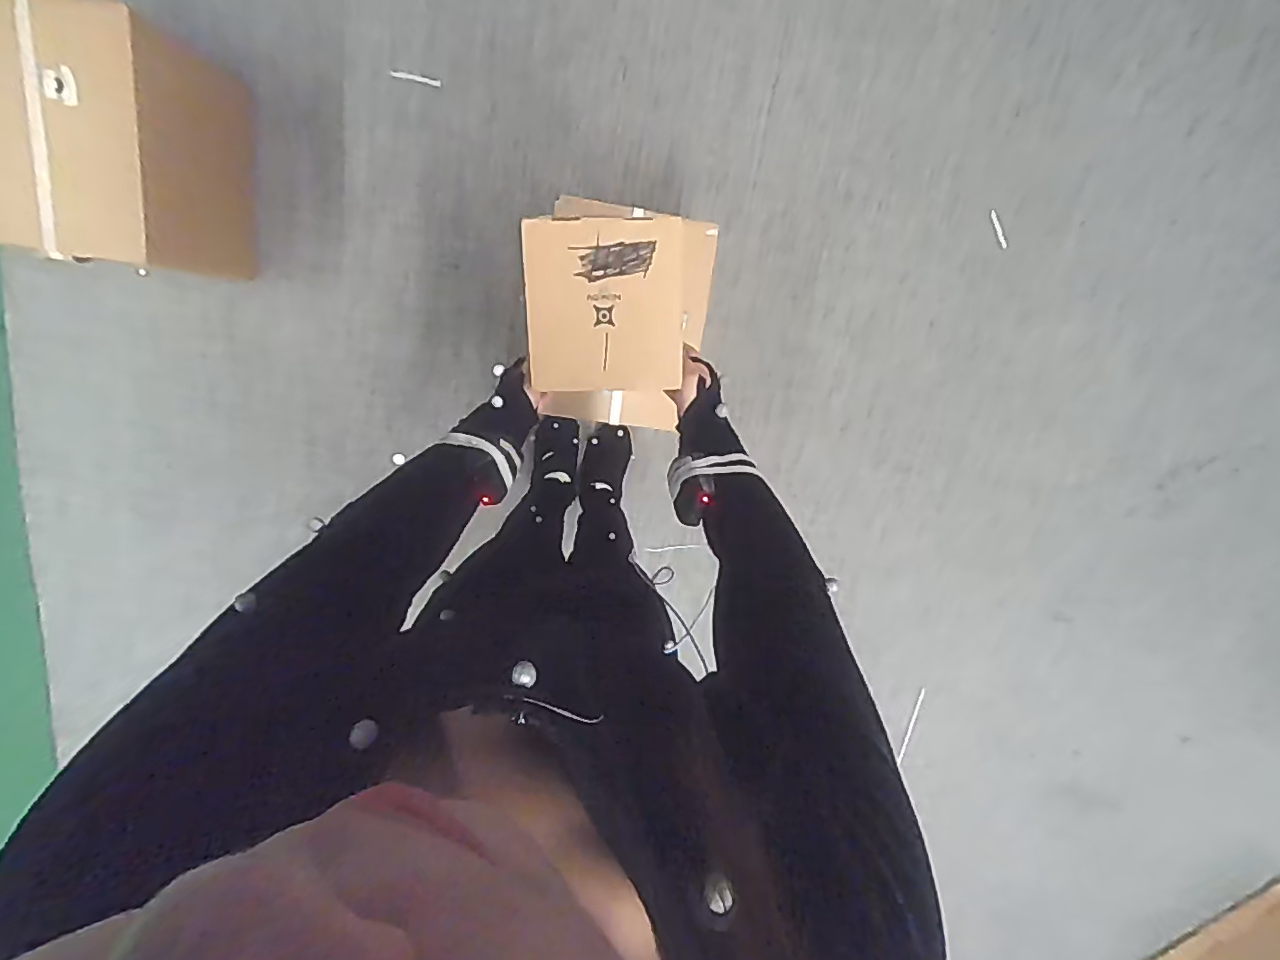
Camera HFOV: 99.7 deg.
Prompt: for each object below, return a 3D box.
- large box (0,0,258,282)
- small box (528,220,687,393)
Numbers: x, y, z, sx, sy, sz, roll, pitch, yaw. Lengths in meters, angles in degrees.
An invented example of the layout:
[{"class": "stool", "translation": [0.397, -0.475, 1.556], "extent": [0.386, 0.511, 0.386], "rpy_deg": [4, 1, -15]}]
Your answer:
[{"class": "large box", "translation": [-1.010, -0.634, 1.067], "extent": [0.320, 0.320, 0.408], "rpy_deg": [8, 103, -5]}, {"class": "small box", "translation": [-0.036, -0.200, 0.648], "extent": [0.168, 0.176, 0.179], "rpy_deg": [-1, 105, -1]}]
